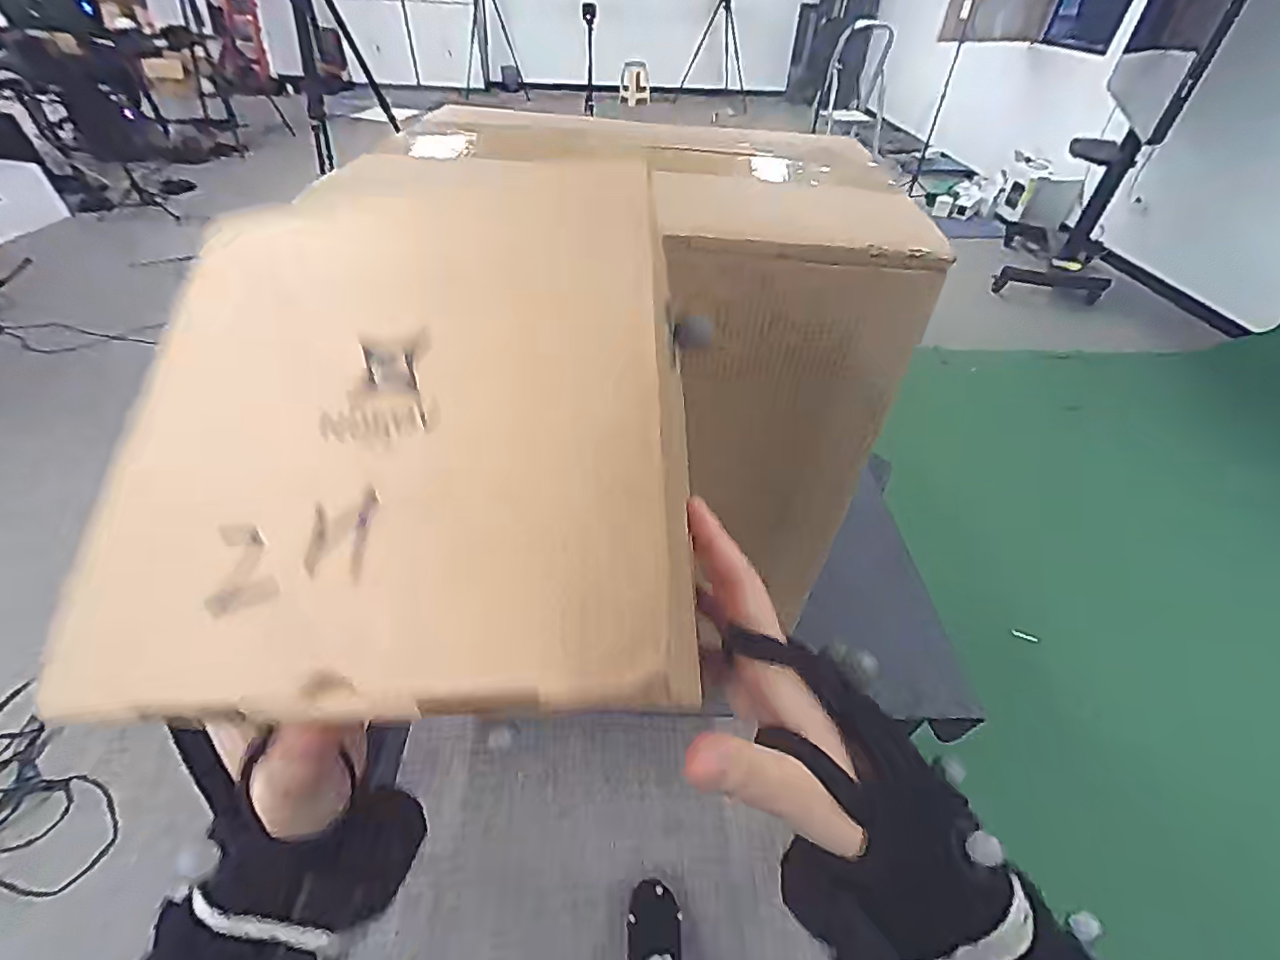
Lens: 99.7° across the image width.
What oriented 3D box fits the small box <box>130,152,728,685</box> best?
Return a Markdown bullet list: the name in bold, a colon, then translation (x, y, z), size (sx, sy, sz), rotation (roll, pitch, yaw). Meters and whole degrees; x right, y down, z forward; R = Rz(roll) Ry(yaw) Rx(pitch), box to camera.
- **small box**: translation (-0.050, -0.006, 0.246), size (0.168, 0.176, 0.179), rotation (-4, 66, 7)
